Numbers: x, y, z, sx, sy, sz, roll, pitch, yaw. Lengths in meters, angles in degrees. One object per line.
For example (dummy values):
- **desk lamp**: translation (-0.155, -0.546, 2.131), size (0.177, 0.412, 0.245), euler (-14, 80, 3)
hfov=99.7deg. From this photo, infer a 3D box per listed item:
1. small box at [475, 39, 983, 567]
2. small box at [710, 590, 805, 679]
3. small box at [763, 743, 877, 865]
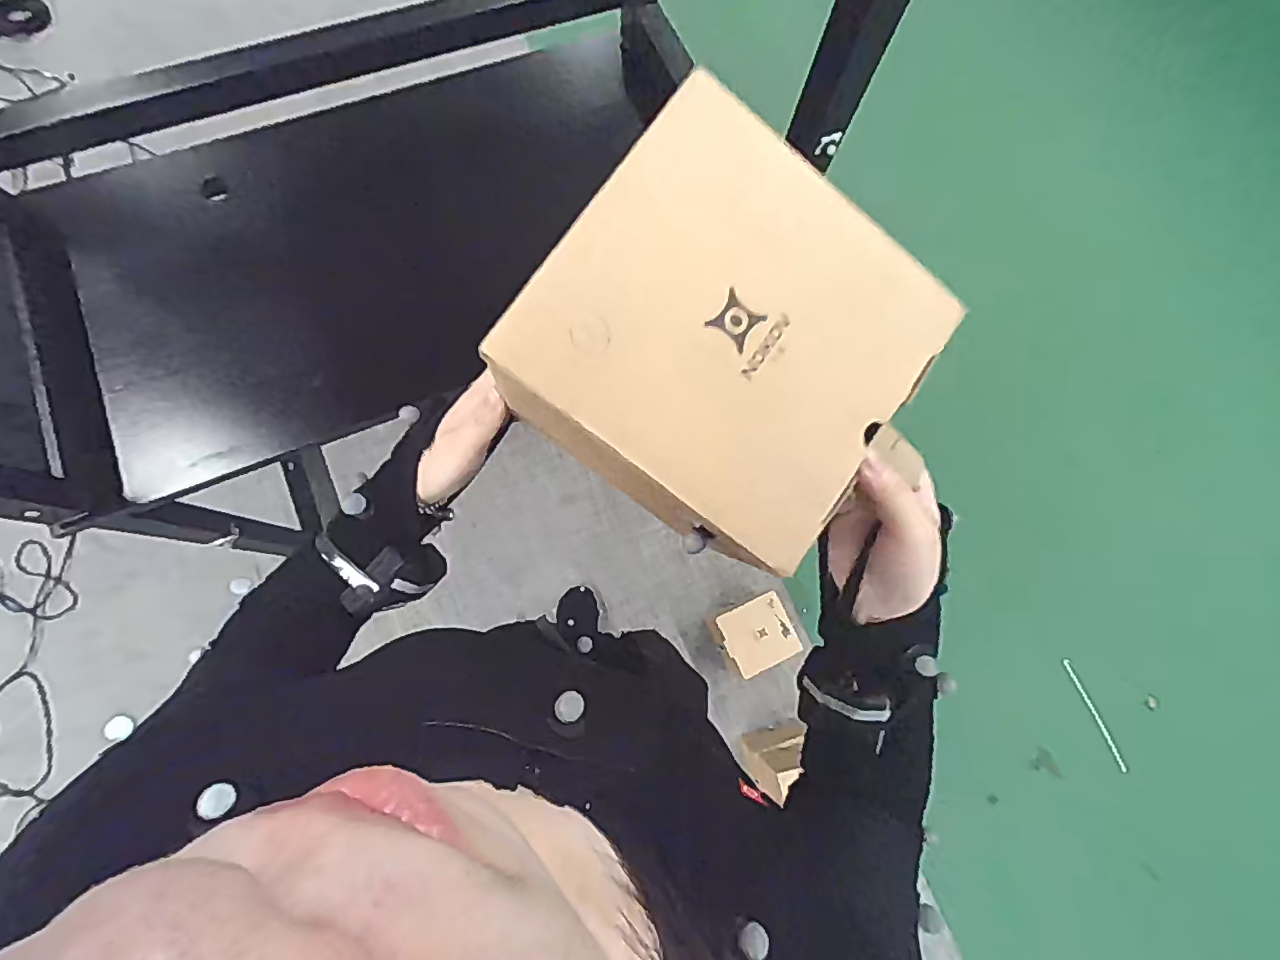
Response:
- **small box**: translation (0.033, -0.074, 0.311), size (0.179, 0.176, 0.168), euler (36, 84, -9)
- **small box**: translation (0.297, 0.403, 1.420), size (0.179, 0.176, 0.168), euler (-24, 79, -8)
- **small box**: translation (0.382, 0.695, 1.187), size (0.168, 0.176, 0.179), euler (-11, 78, -4)
